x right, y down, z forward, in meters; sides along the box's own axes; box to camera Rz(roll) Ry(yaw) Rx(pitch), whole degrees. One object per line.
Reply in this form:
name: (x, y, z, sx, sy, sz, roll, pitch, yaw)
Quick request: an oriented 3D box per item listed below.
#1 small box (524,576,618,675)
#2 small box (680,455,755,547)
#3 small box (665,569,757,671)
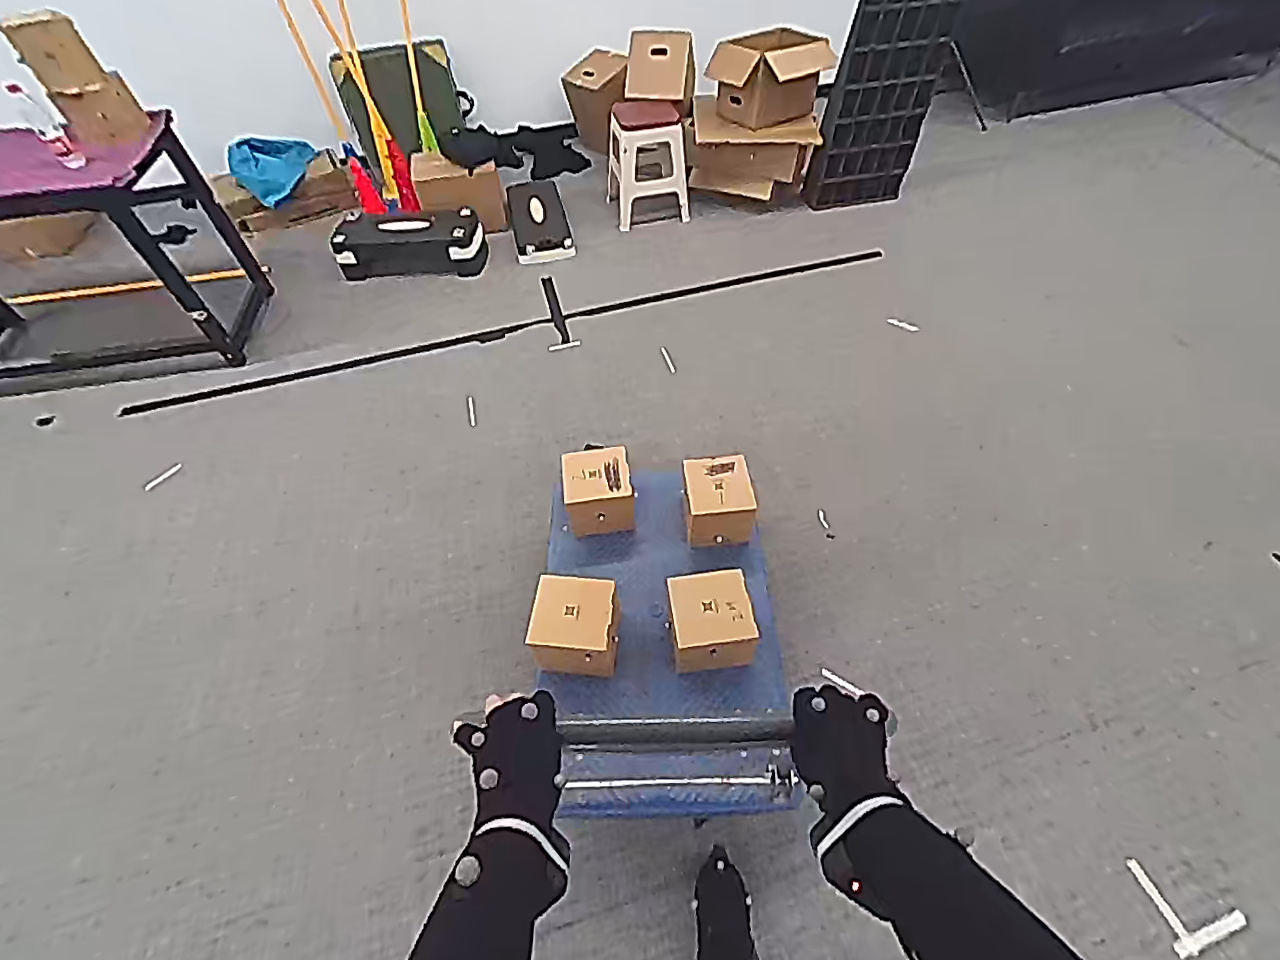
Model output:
small box: (-0.150, 0.337, 1.243, 0.179, 0.176, 0.168, 4, 53, 3)
small box: (0.198, 0.056, 1.439, 0.168, 0.176, 0.179, -6, 54, -1)
small box: (0.155, 0.324, 1.239, 0.179, 0.176, 0.168, -7, 53, -3)
